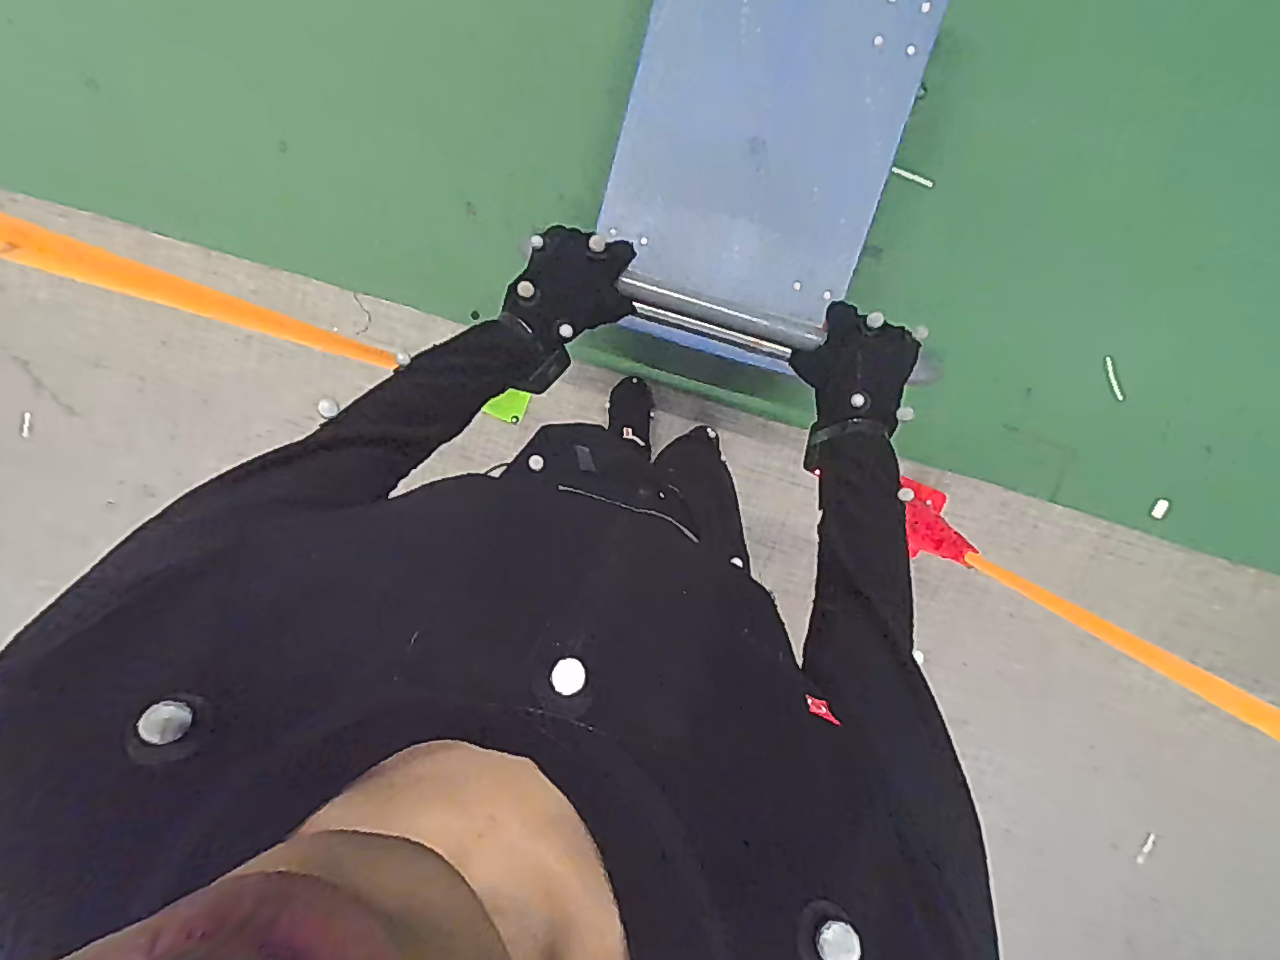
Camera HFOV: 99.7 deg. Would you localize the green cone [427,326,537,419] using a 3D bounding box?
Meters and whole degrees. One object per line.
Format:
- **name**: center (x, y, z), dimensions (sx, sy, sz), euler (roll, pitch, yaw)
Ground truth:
- **green cone**: center (-0.398, -0.255, 1.268), dimensions (0.202, 0.368, 0.200), euler (22, 100, -1)
